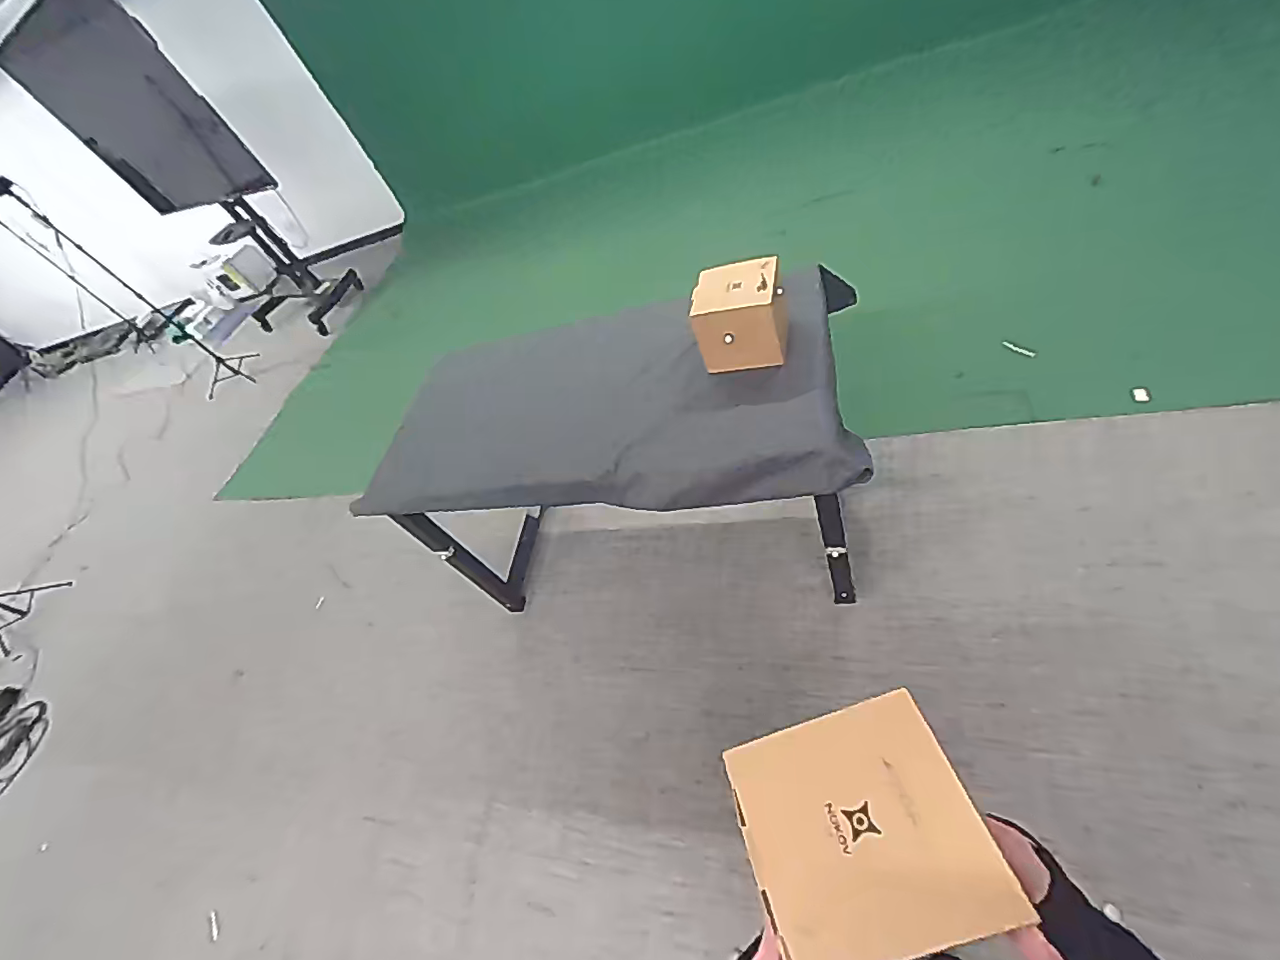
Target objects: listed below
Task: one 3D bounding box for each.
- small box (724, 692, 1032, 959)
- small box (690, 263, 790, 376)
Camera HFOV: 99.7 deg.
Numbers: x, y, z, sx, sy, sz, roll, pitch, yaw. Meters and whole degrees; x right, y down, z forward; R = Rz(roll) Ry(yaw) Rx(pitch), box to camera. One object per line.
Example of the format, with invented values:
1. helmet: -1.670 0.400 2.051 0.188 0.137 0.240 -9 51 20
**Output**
1. small box: 0.198 0.323 0.483 0.179 0.176 0.168 -23 46 5
2. small box: 0.230 -0.352 1.216 0.179 0.176 0.168 -3 53 25
